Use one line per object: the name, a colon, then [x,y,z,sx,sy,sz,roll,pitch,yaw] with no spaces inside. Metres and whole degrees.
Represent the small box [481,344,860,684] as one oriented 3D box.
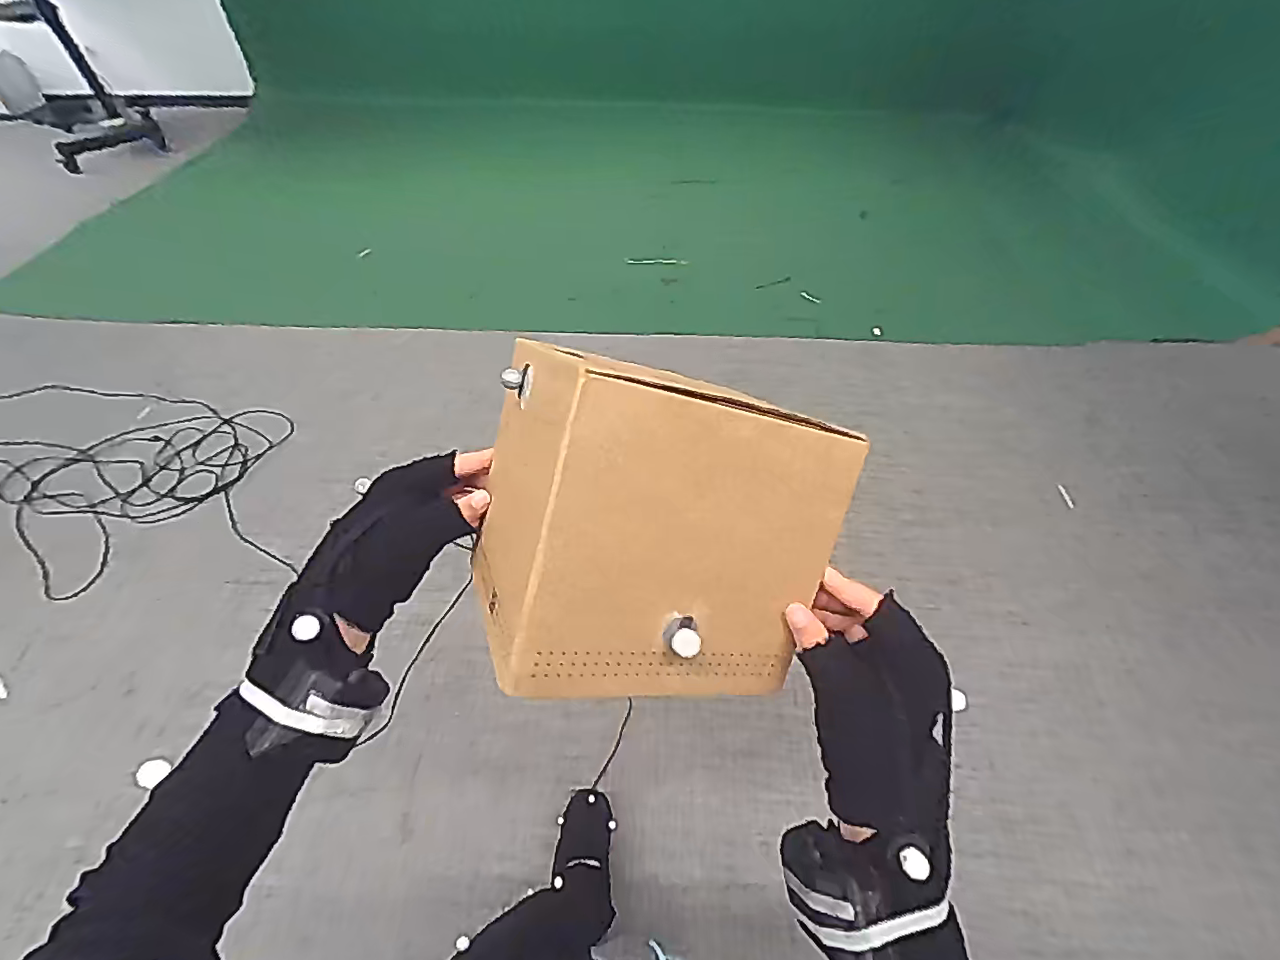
small box: [0.003,0.019,0.365,0.179,0.176,0.168,10,13,-24]
